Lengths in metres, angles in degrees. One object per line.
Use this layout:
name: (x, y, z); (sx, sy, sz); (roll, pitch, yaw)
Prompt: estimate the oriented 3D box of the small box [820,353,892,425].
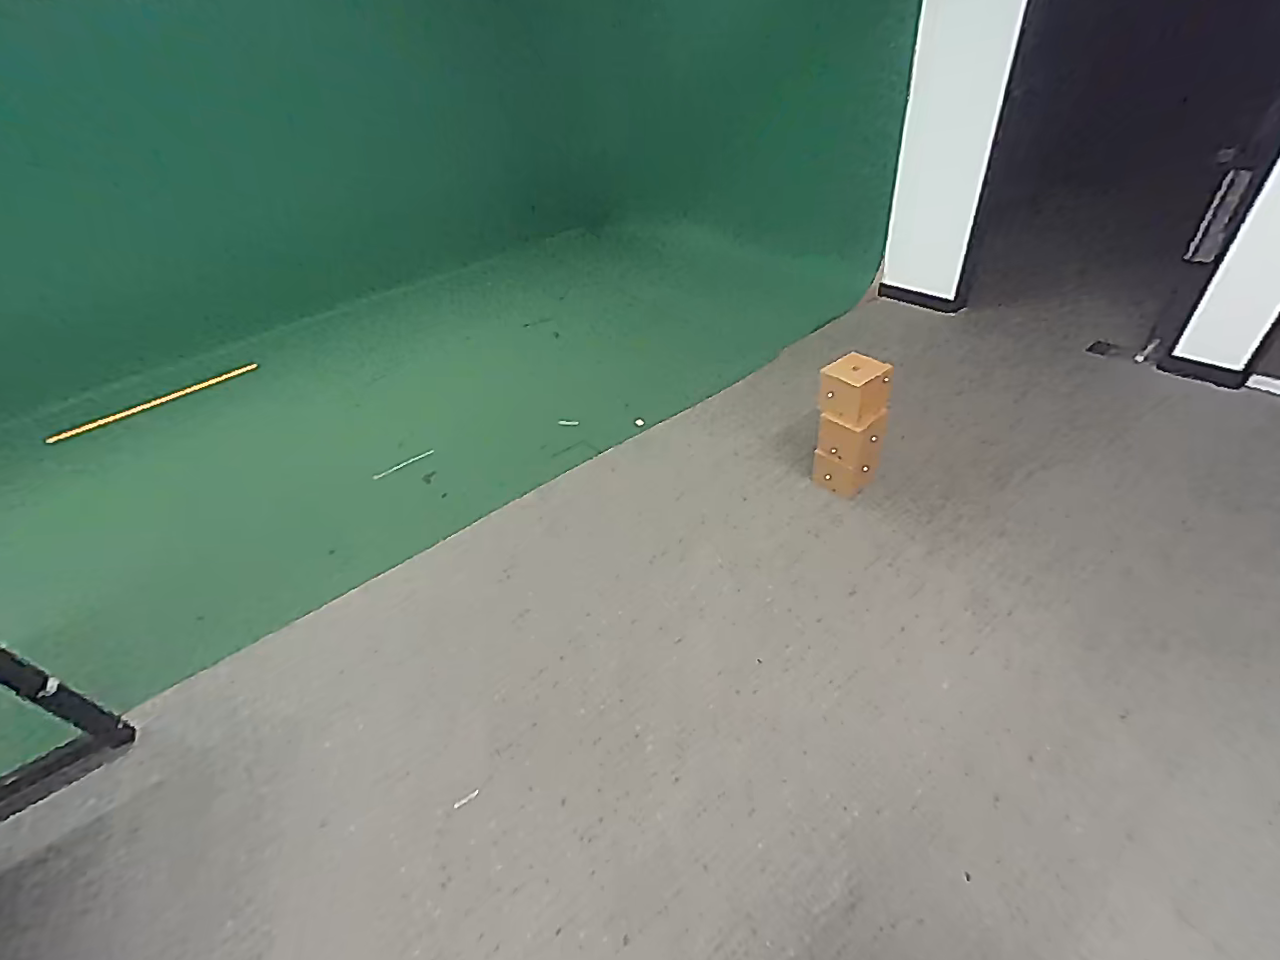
small box: (0.758, -0.318, 1.908); (0.179, 0.176, 0.168); (-29, 43, -21)
